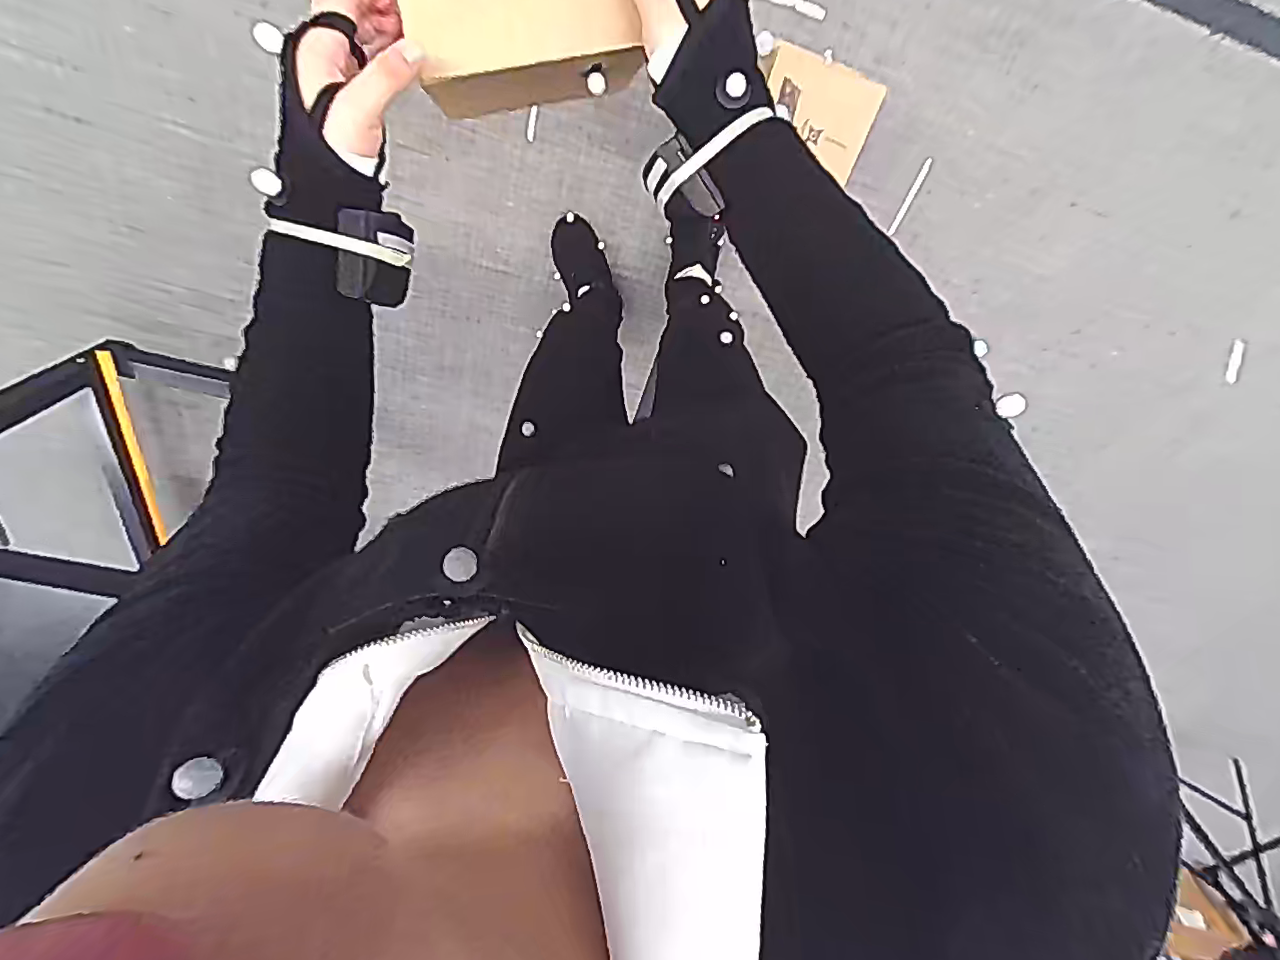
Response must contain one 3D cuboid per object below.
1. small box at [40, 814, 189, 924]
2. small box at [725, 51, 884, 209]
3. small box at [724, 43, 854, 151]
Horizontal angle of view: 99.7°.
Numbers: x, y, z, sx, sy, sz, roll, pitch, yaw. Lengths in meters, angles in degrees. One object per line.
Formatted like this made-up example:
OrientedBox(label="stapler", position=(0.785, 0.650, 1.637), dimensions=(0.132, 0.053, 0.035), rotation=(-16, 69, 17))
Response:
OrientedBox(label="small box", position=(-1.233, 0.922, 1.286), dimensions=(0.179, 0.176, 0.168), rotation=(14, 126, -11))
OrientedBox(label="small box", position=(0.252, -0.568, 0.883), dimensions=(0.179, 0.176, 0.168), rotation=(12, 126, -10))
OrientedBox(label="small box", position=(0.266, -0.677, 1.009), dimensions=(0.168, 0.176, 0.179), rotation=(15, 126, -11))
